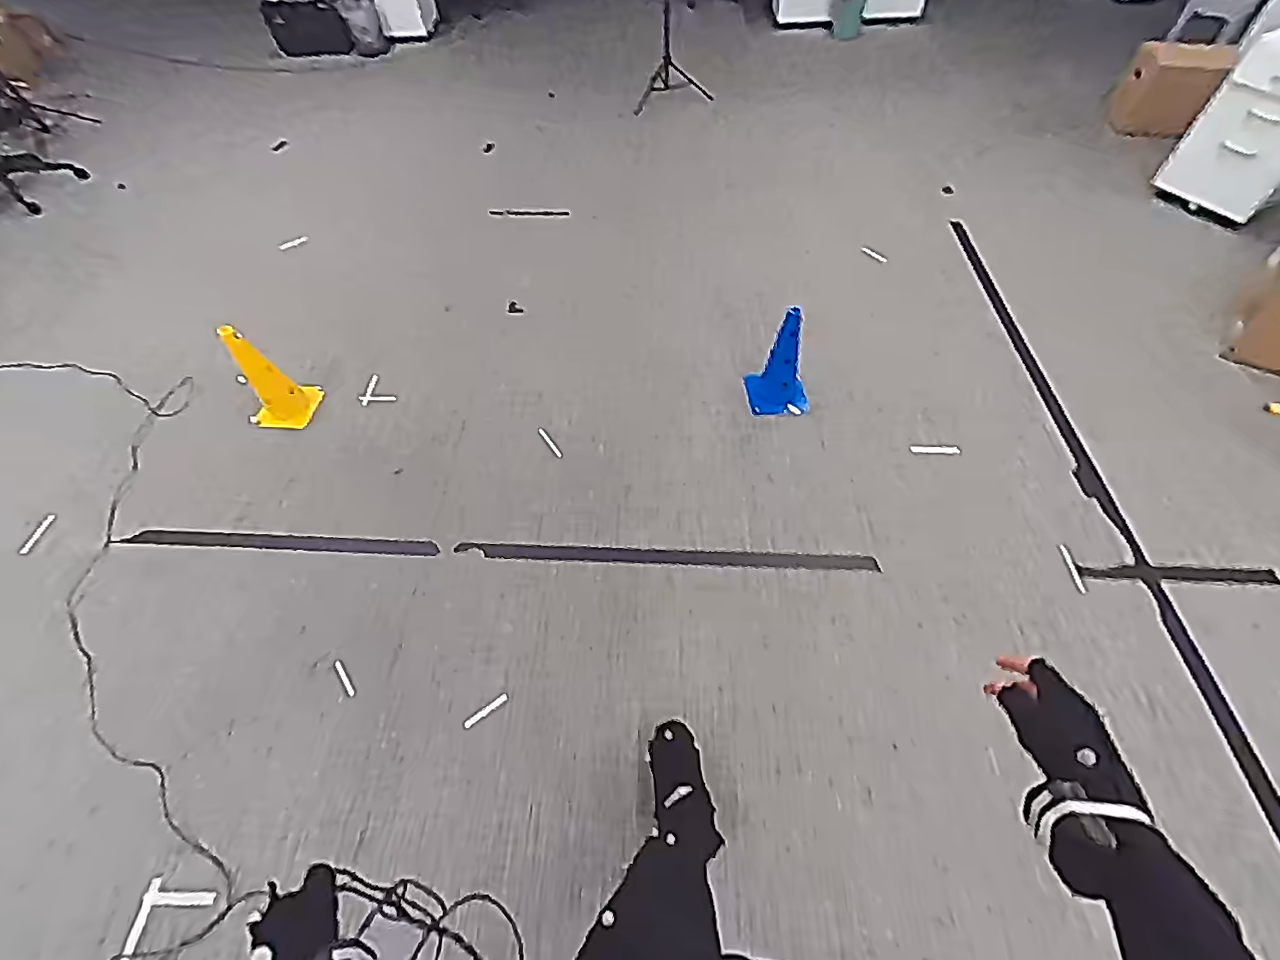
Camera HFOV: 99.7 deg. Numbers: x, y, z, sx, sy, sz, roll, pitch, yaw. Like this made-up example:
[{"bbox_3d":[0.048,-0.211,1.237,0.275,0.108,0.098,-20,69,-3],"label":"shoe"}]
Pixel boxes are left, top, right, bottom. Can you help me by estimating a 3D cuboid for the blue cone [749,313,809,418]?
[{"bbox_3d":[0.479,-0.389,1.774,0.193,0.380,0.192,-3,55,1],"label":"blue cone"}]
